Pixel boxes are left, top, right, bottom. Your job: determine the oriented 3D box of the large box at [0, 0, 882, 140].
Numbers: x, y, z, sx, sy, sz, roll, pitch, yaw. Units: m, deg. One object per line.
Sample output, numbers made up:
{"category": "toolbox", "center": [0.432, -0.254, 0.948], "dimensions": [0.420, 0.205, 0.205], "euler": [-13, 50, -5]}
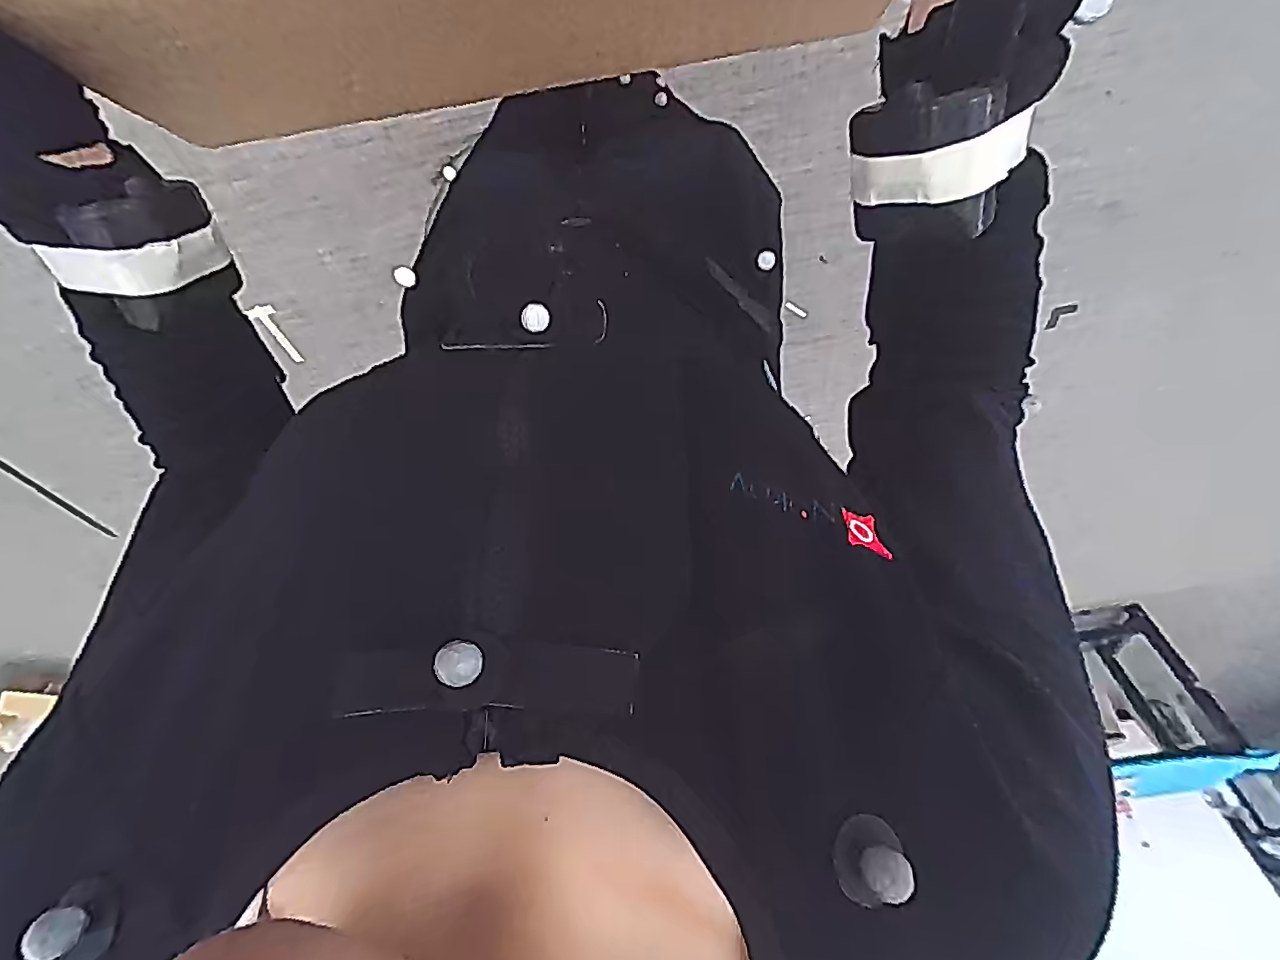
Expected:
{"category": "large box", "center": [-0.095, -0.359, 0.150], "dimensions": [0.408, 0.320, 0.320], "euler": [-7, 99, 4]}
